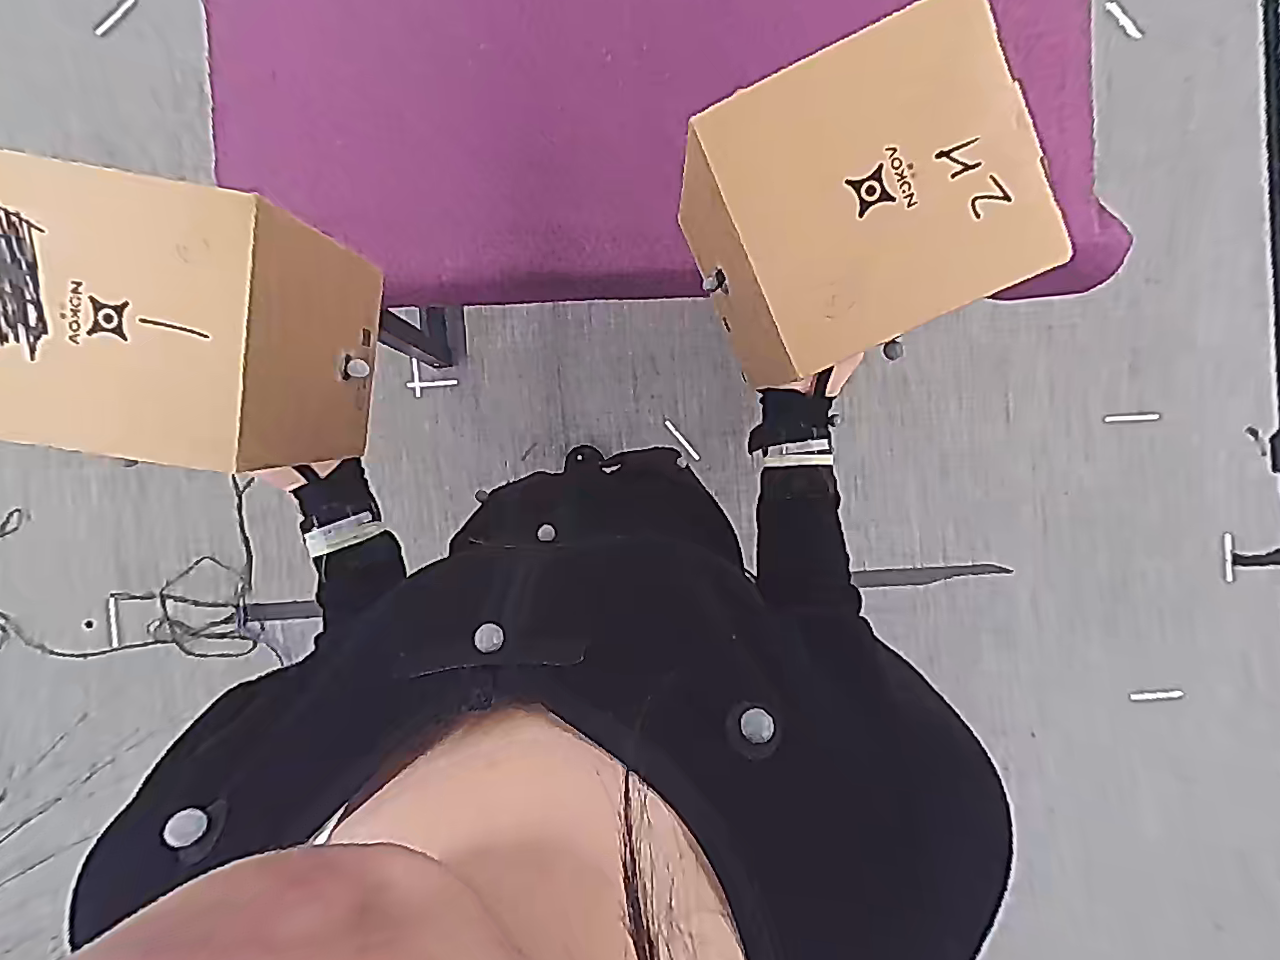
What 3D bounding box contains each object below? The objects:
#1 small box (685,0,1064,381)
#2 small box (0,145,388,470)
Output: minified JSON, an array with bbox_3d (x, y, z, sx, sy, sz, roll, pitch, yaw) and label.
[{"bbox_3d":[0.141,-0.181,0.394,0.179,0.176,0.168,-24,97,4],"label":"small box"},{"bbox_3d":[-0.314,-0.107,0.393,0.179,0.176,0.168,9,96,-3],"label":"small box"}]
